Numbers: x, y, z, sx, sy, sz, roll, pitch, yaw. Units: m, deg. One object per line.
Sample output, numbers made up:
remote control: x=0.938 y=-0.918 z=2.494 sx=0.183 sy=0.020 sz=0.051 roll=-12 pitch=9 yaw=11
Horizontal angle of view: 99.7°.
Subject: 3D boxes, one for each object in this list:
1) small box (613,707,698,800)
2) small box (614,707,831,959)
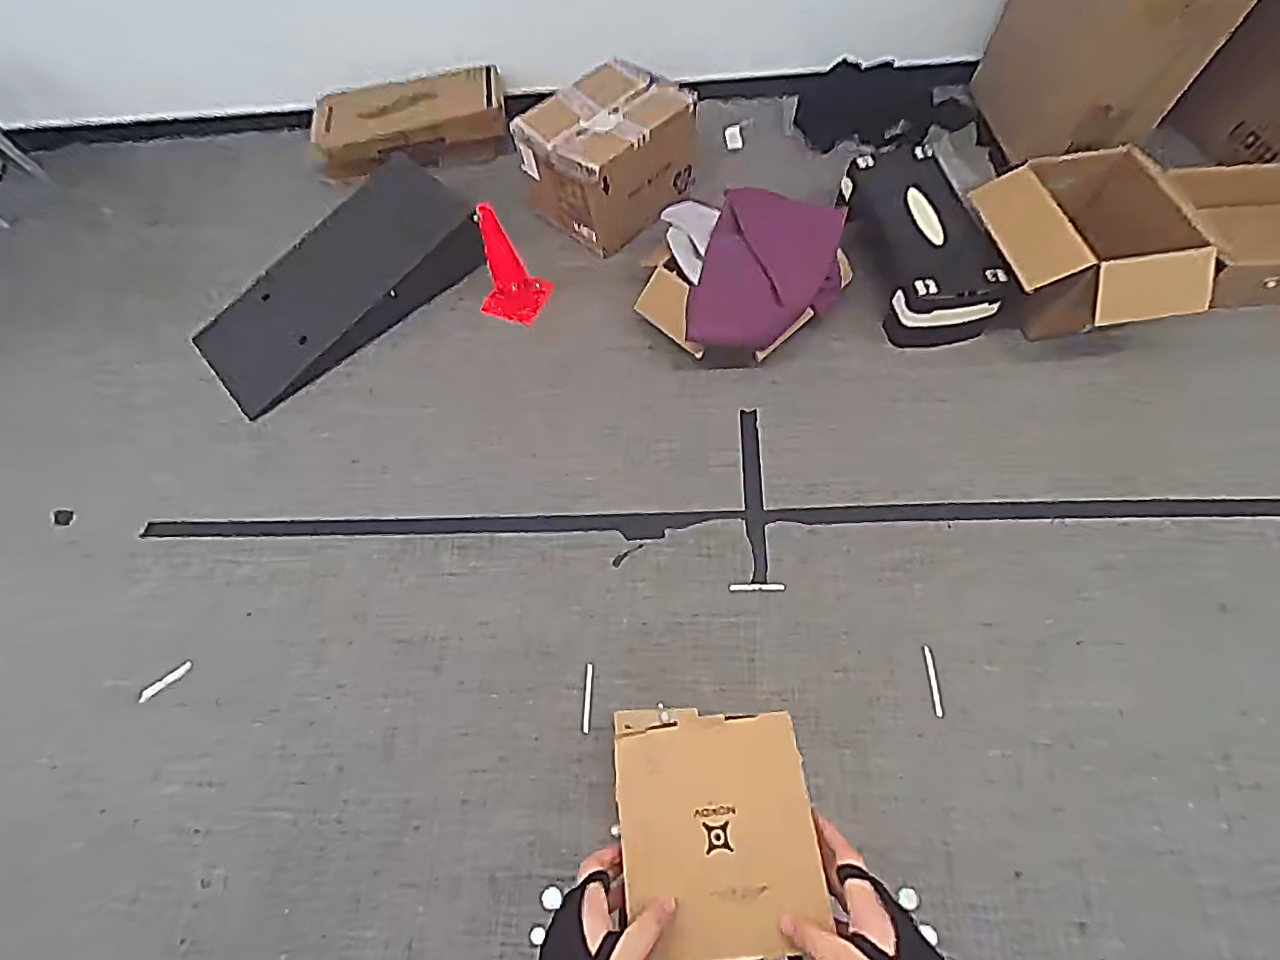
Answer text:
small box: x=0.039 y=0.578 z=1.145 sx=0.179 sy=0.176 sz=0.168 roll=-3 pitch=64 yaw=3
small box: x=0.070 y=0.336 z=0.540 sx=0.168 sy=0.176 sz=0.179 roll=-9 pitch=64 yaw=2
